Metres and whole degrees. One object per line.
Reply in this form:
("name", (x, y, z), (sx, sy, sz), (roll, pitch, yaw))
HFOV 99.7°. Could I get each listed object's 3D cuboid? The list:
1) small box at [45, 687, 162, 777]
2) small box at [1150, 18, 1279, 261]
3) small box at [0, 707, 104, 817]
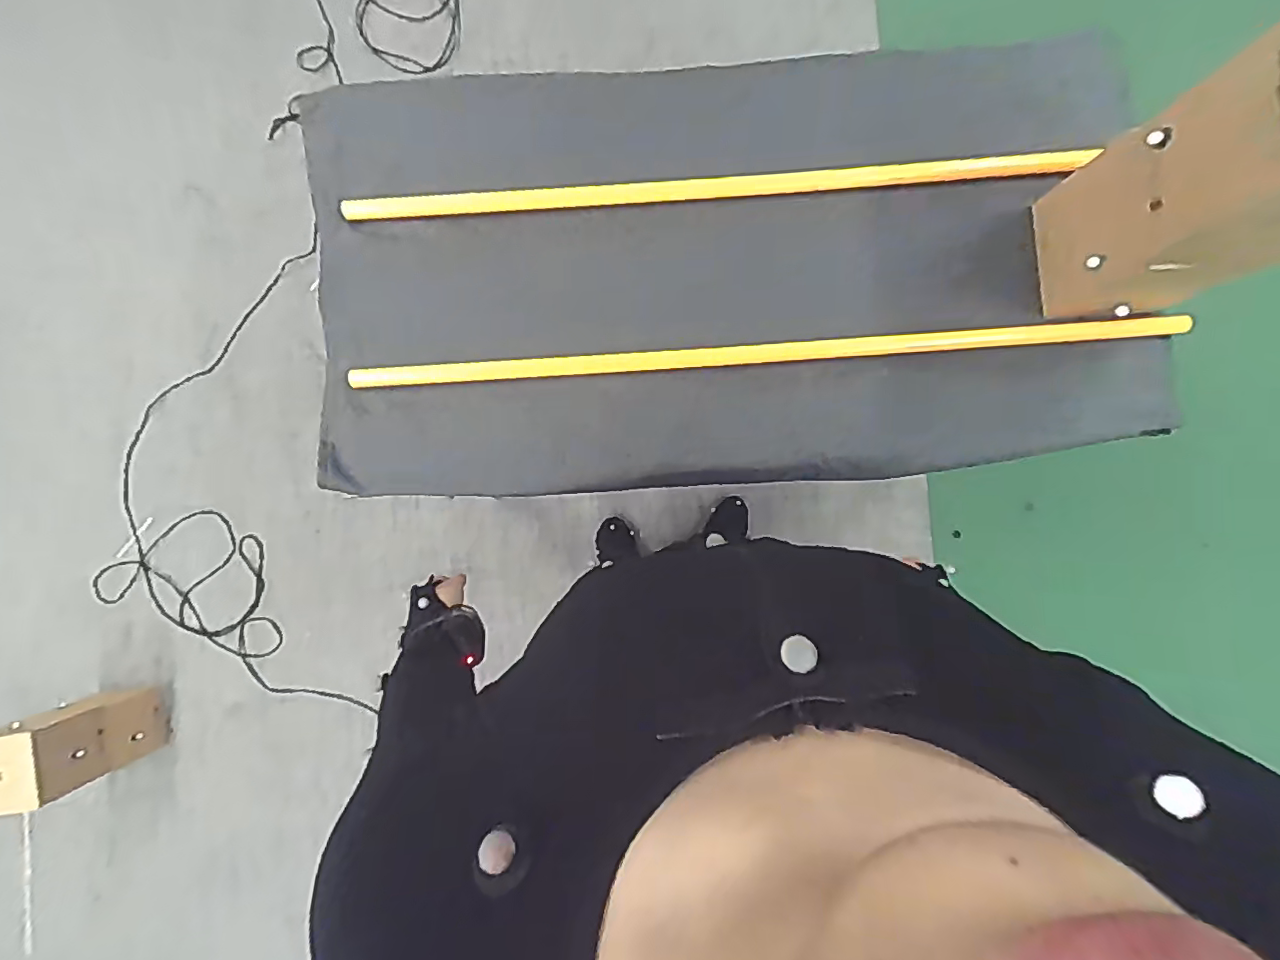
("small box", (-1.373, 0.643, 1.381), (0.179, 0.176, 0.168), (-7, 88, 0))
("small box", (0.667, -0.336, 0.543), (0.179, 0.176, 0.168), (1, 88, 0))
("small box", (-1.365, 0.631, 1.216), (0.179, 0.176, 0.168), (-9, 87, 0))
